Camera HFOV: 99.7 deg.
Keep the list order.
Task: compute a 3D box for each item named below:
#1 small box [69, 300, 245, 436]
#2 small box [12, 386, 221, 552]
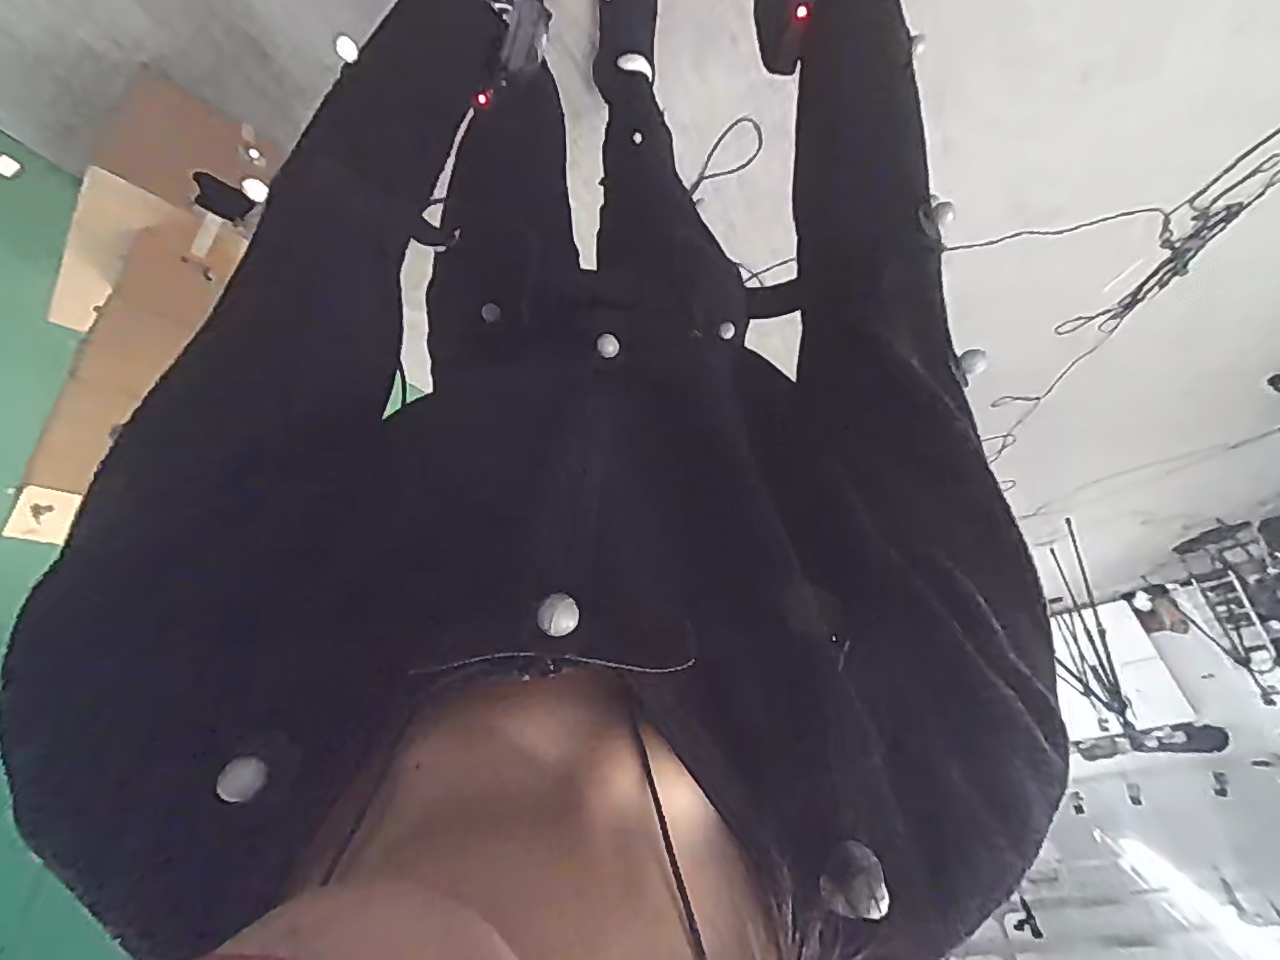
[{"bbox_3d":[-0.778,-0.153,0.873,0.168,0.176,0.179,-28,148,28],"label":"small box"},{"bbox_3d":[-0.754,-0.011,0.795,0.168,0.176,0.179,-29,148,29],"label":"small box"}]
